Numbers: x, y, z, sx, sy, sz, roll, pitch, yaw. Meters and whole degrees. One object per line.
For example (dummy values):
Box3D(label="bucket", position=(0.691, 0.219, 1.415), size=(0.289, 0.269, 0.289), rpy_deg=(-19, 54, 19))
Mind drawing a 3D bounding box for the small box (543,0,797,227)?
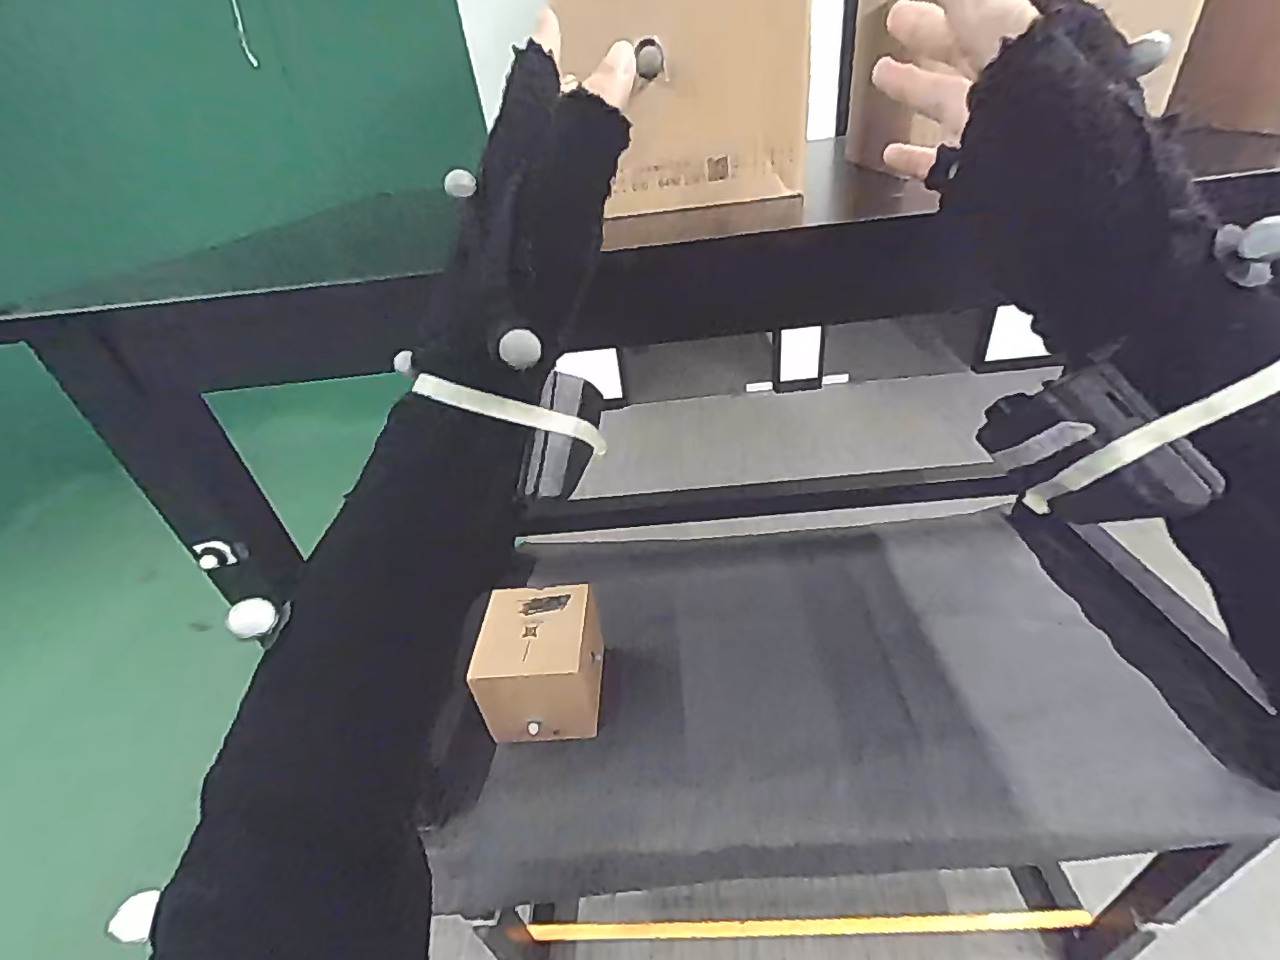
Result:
Box3D(label="small box", position=(0.029, -0.311, 0.437), size=(0.168, 0.176, 0.179), rpy_deg=(-5, 33, 4))

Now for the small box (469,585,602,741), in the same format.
Box3D(label="small box", position=(-0.157, 0.296, 0.884), size=(0.168, 0.176, 0.179), rpy_deg=(-5, 34, 4))

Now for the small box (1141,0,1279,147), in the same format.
Box3D(label="small box", position=(0.512, -0.337, 0.373), size=(0.168, 0.176, 0.179), rpy_deg=(2, 34, 14))
